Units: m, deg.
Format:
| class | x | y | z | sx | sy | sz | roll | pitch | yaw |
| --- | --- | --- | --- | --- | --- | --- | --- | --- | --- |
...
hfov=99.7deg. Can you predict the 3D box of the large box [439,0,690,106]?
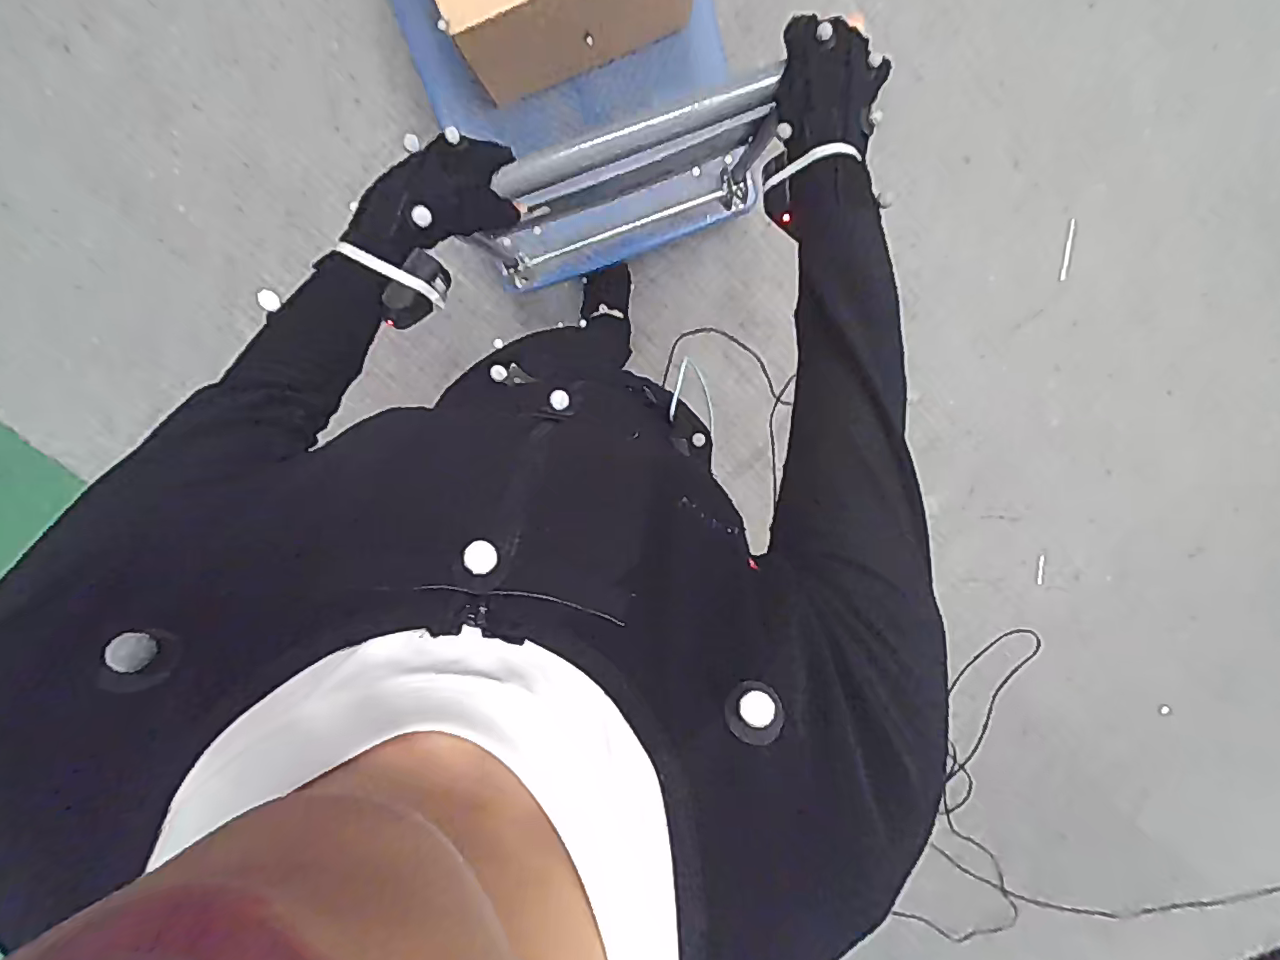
| class | x | y | z | sx | sy | sz | roll | pitch | yaw |
| --- | --- | --- | --- | --- | --- | --- | --- | --- | --- |
| large box | -0.144 | -0.899 | 0.876 | 0.408 | 0.320 | 0.320 | -21 | 106 | 6 |
